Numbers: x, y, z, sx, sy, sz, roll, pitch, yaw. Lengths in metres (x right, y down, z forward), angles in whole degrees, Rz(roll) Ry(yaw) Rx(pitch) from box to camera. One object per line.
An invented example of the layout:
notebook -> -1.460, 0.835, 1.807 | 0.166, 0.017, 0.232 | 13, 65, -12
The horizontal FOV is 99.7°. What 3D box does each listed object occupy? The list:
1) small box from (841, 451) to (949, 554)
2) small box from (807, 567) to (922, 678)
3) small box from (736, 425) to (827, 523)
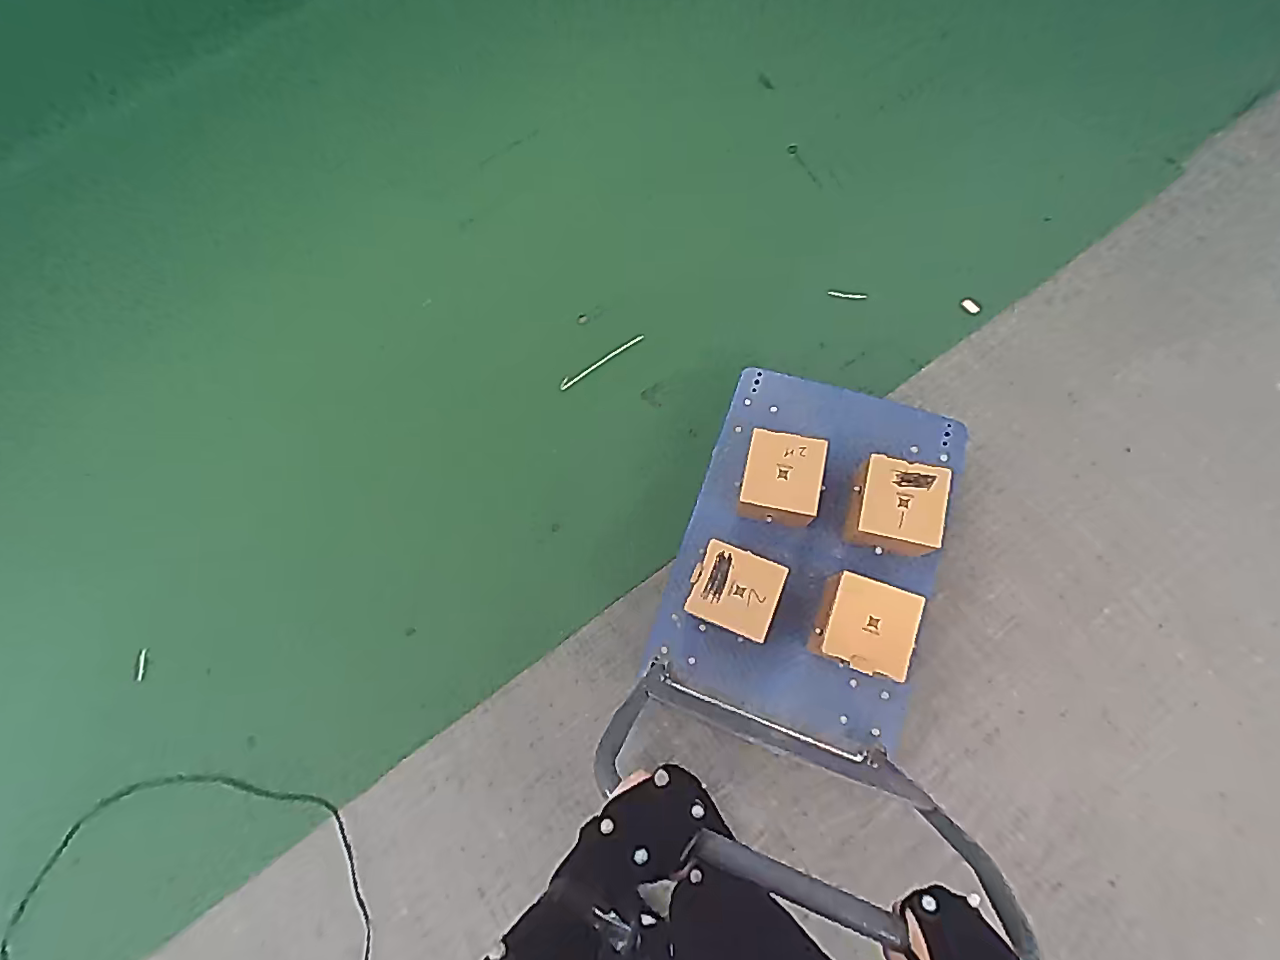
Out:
small box -> 0.564, 0.056, 1.216 | 0.168, 0.176, 0.179 | 13, 77, 11
small box -> 0.472, 0.303, 1.162 | 0.168, 0.176, 0.179 | 19, 79, 11
small box -> 0.322, -0.007, 1.261 | 0.168, 0.176, 0.179 | 12, 77, 9
